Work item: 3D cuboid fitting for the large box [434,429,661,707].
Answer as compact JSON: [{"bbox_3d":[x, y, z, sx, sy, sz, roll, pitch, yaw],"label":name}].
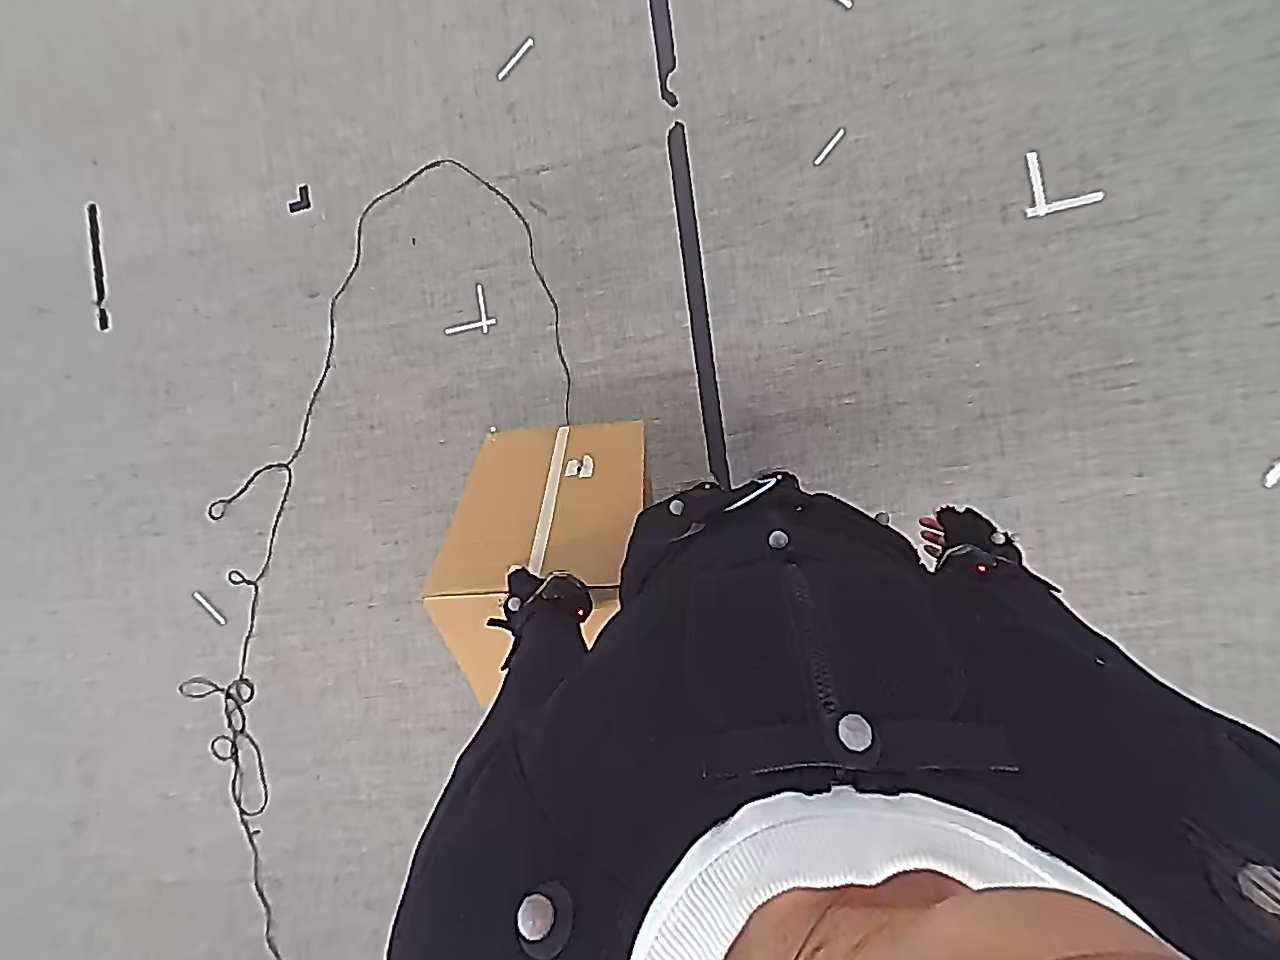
[{"bbox_3d":[-0.130,0.151,1.001,0.320,0.408,0.320,-3,128,3],"label":"large box"}]
